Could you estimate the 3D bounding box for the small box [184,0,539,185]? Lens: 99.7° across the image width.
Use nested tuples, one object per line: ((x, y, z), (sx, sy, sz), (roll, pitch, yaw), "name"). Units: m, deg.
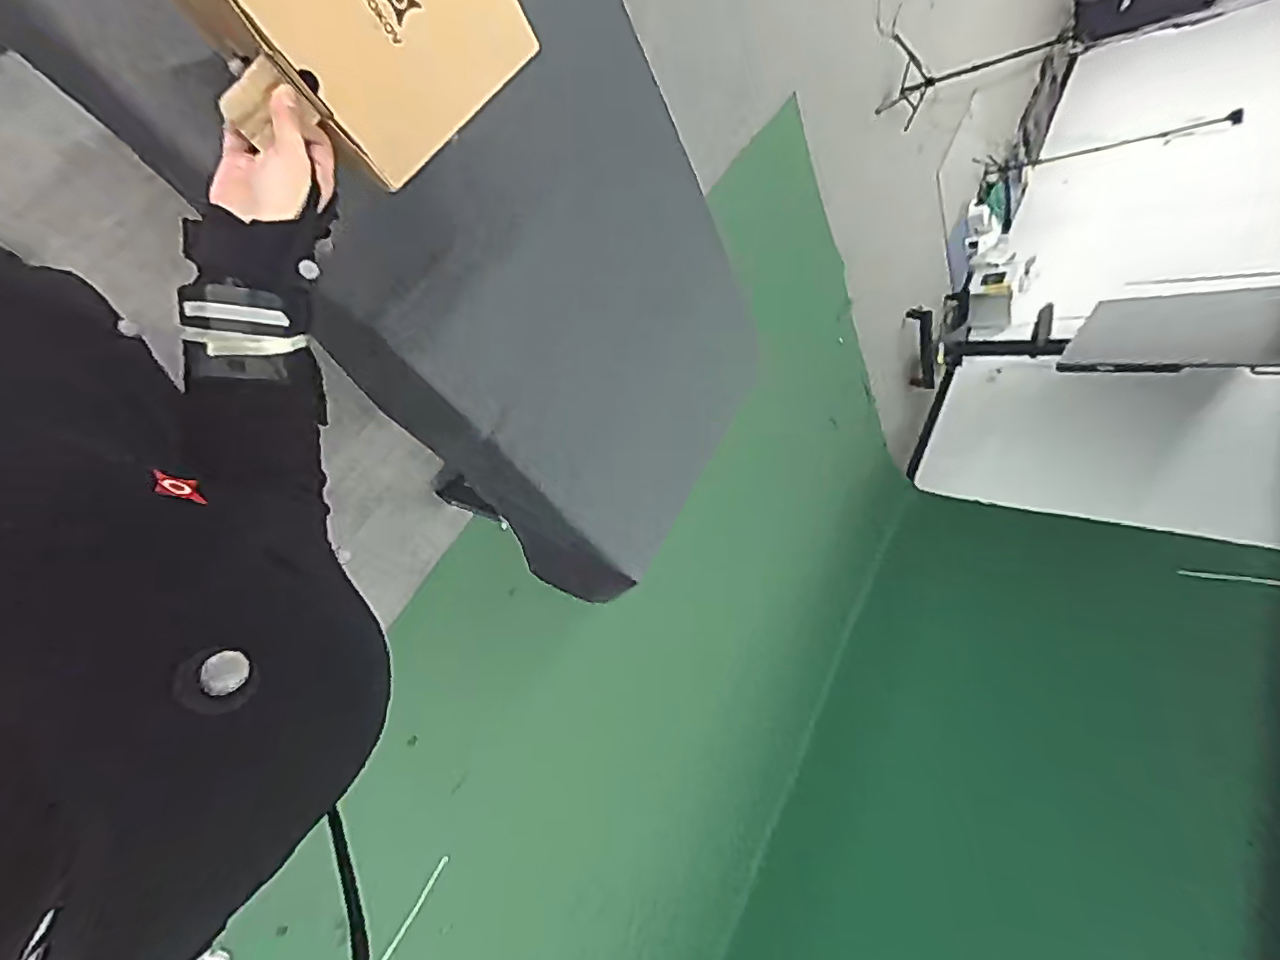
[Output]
((-0.221, -0.373, 0.421), (0.179, 0.176, 0.168), (-50, 144, -6), "small box")
